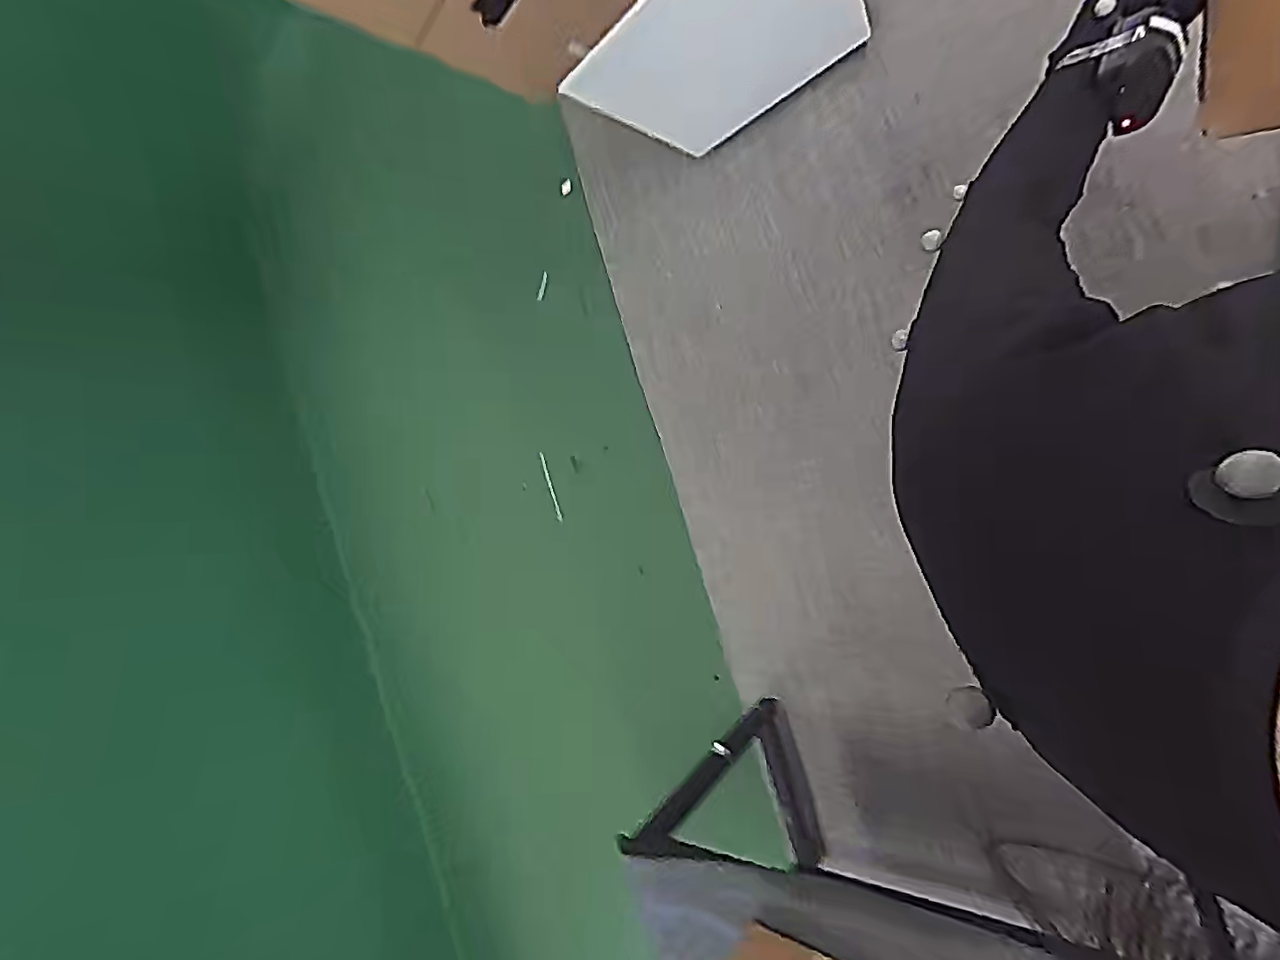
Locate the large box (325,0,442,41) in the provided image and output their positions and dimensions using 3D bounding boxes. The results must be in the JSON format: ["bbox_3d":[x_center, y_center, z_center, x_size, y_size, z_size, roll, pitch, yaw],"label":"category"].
[{"bbox_3d":[-0.447,-0.977,0.765,0.320,0.320,0.408,-20,86,41],"label":"large box"}]
